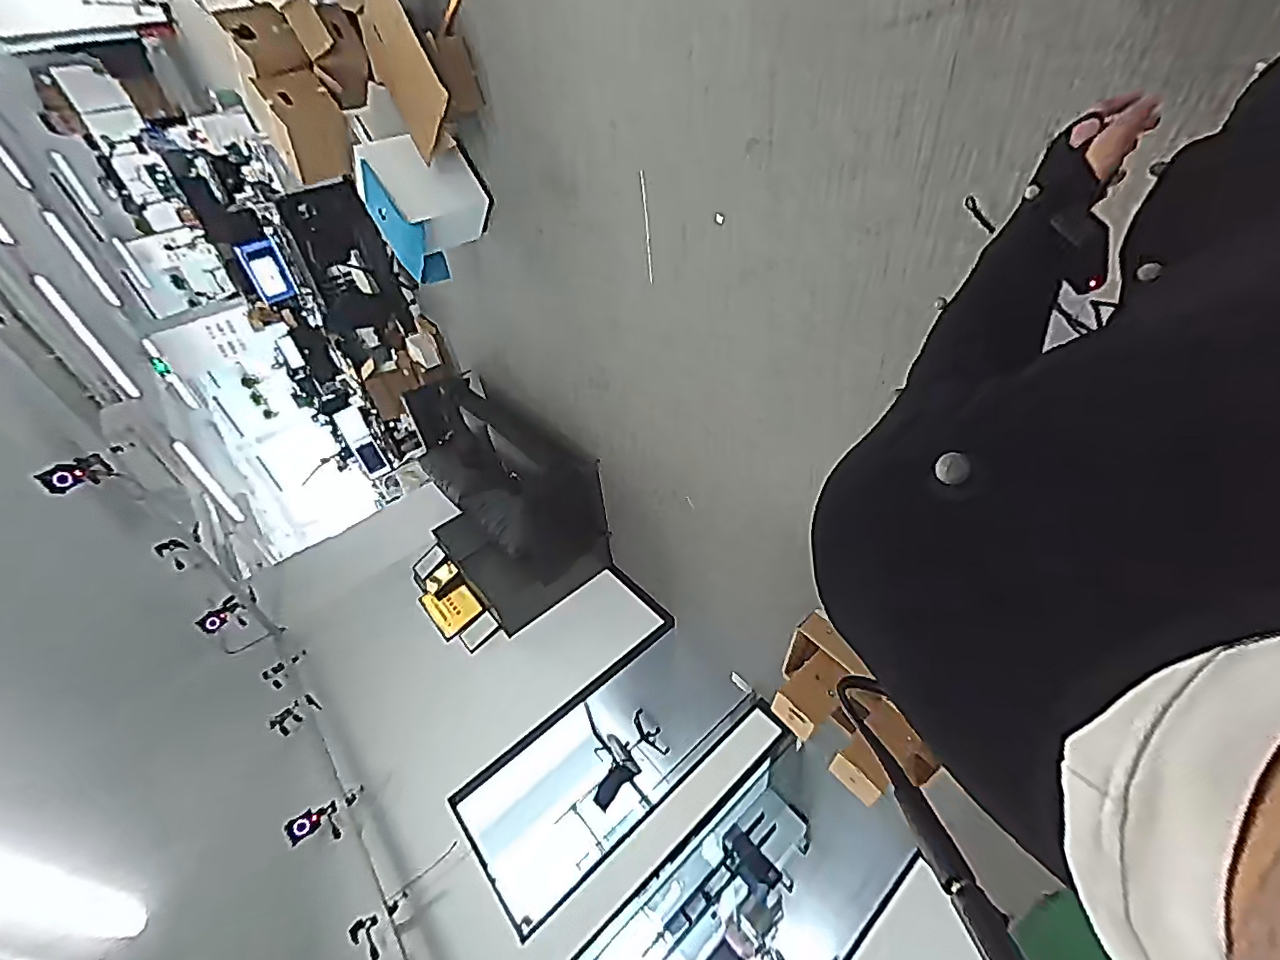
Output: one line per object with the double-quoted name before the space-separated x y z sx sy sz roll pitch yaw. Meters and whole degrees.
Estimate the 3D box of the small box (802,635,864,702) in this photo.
"small box" 0.727 0.733 2.072 0.168 0.176 0.179 40 148 32

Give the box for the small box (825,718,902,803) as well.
"small box" 0.773 0.967 1.869 0.168 0.176 0.179 39 148 33

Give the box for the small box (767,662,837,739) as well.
"small box" 0.600 0.811 2.001 0.168 0.176 0.179 41 149 31
